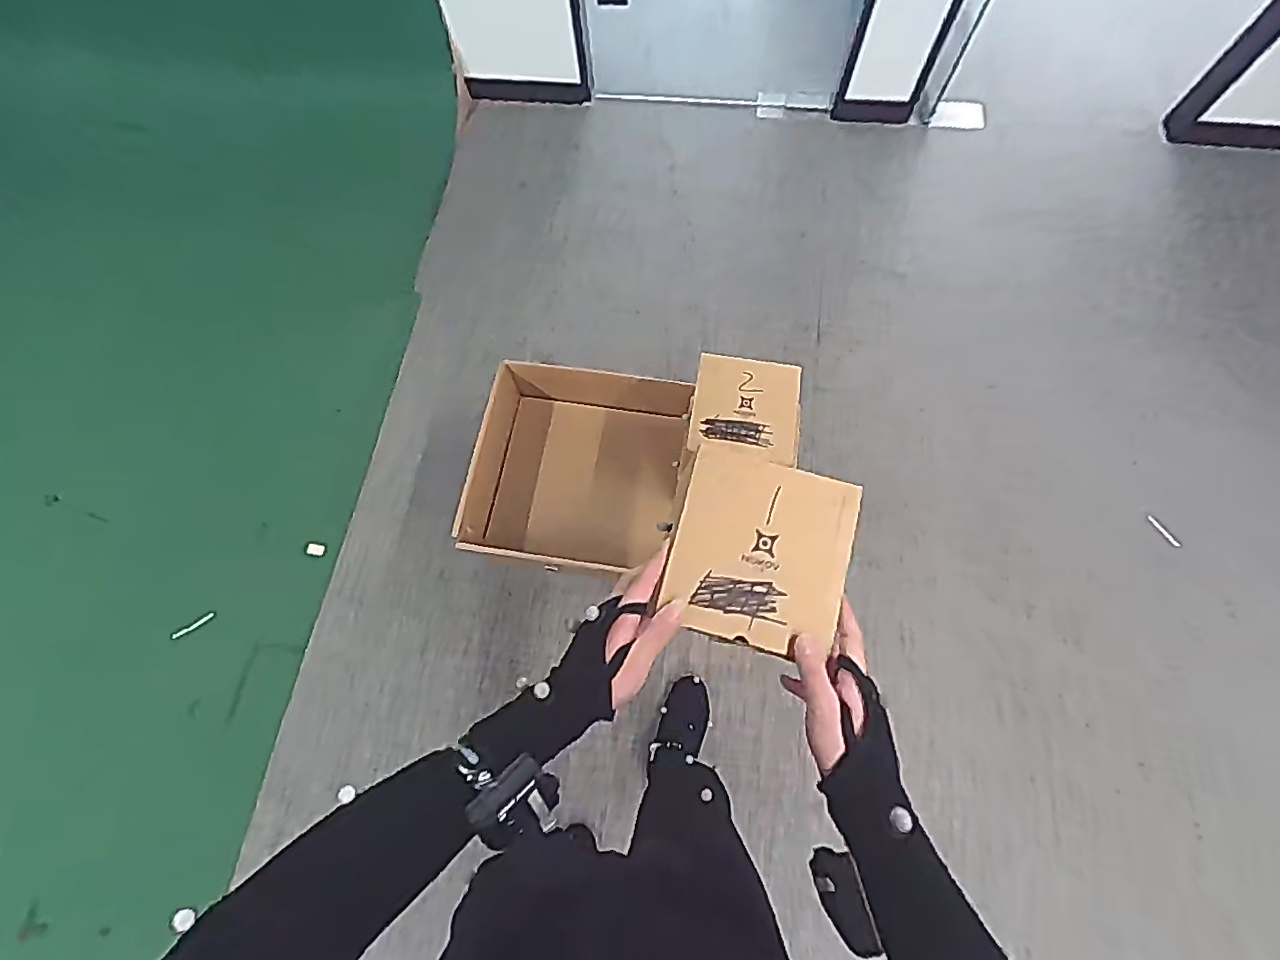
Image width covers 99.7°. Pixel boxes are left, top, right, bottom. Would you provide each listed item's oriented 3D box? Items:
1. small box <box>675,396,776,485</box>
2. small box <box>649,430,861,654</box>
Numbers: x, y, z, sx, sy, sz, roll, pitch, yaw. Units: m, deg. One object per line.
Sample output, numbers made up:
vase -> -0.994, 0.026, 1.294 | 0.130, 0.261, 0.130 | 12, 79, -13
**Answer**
small box -> 0.165, -0.044, 1.084 | 0.168, 0.176, 0.179 | 9, 73, 4
small box -> 0.110, 0.071, 0.583 | 0.168, 0.176, 0.179 | 16, 78, 0
